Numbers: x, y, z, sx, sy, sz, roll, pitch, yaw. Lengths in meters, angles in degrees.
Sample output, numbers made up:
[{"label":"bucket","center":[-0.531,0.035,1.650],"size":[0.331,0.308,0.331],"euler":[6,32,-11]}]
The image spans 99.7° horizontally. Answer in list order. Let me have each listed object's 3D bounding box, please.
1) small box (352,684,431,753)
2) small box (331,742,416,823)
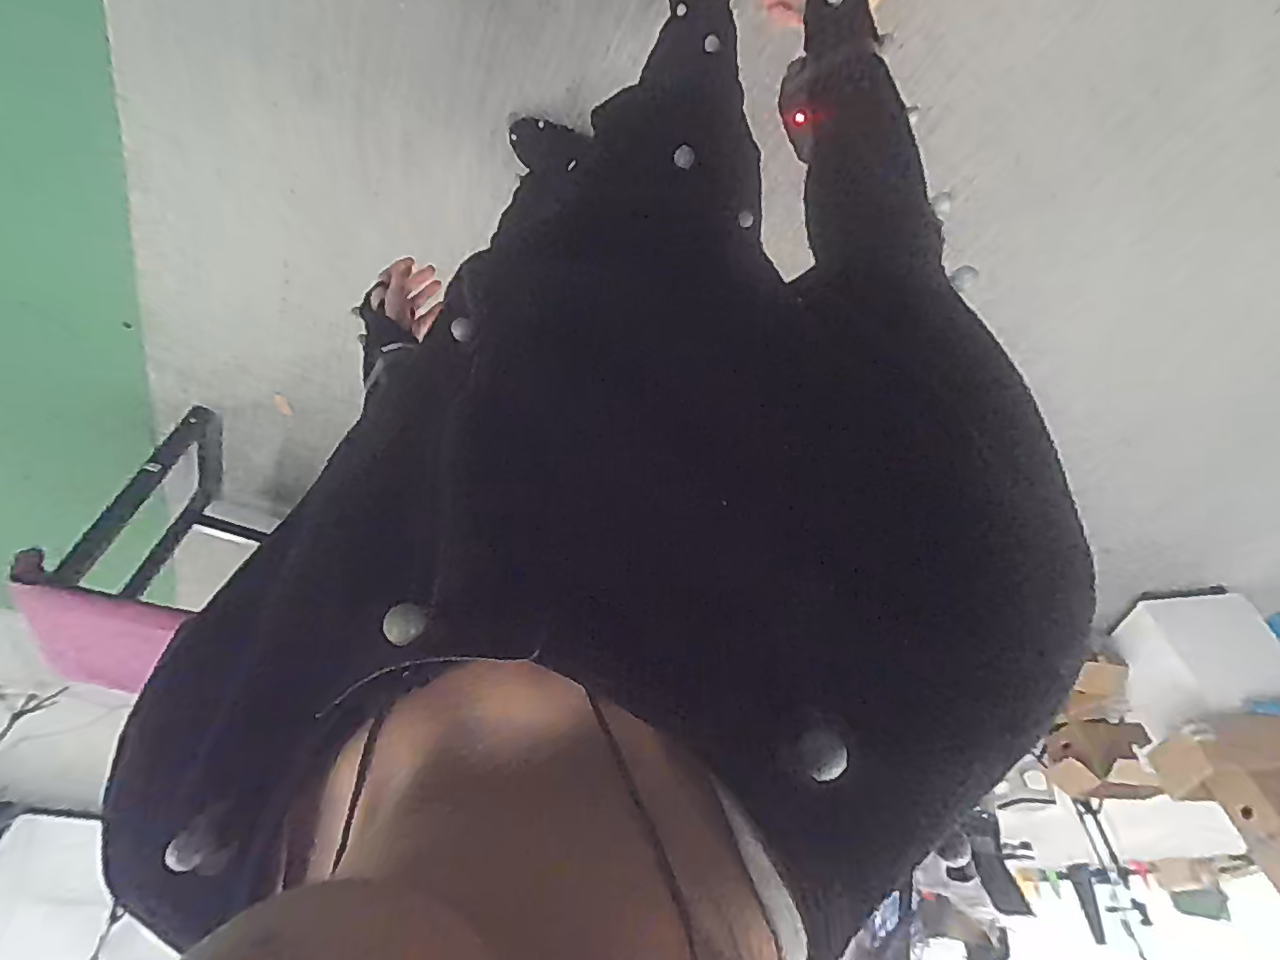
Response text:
[{"label":"small box","center":[-0.769,0.761,1.685],"size":[0.168,0.176,0.179],"euler":[22,134,-22]},{"label":"small box","center":[-0.768,0.877,1.569],"size":[0.168,0.176,0.179],"euler":[23,133,-23]}]
